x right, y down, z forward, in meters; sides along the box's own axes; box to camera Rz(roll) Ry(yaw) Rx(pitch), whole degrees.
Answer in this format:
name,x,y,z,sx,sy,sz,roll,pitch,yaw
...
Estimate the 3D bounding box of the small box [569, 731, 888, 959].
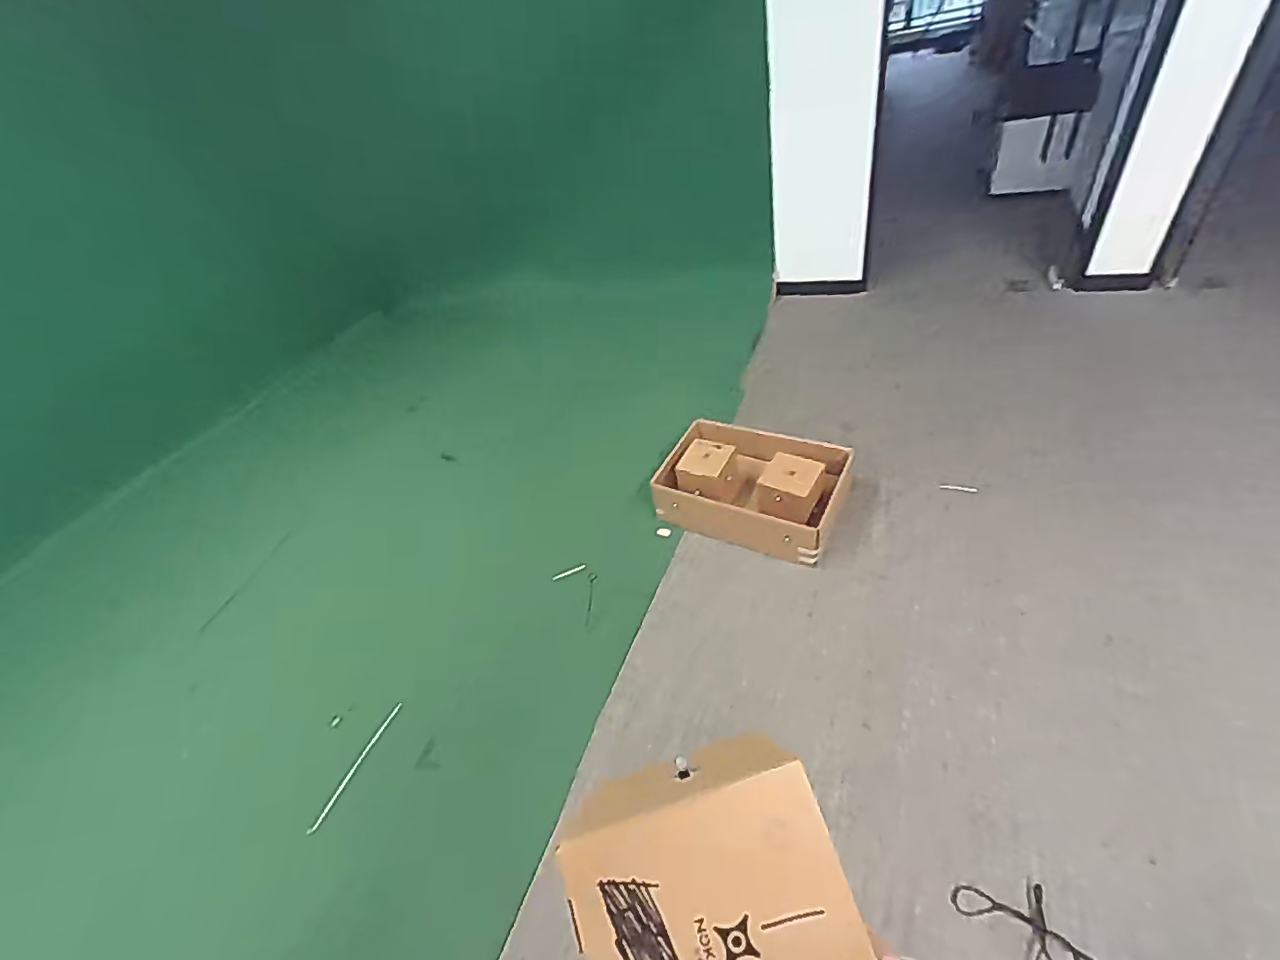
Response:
name,x,y,z,sx,sy,sz,roll,pitch,yaw
small box,0.062,0.310,0.414,0.179,0.176,0.168,-18,72,-4
